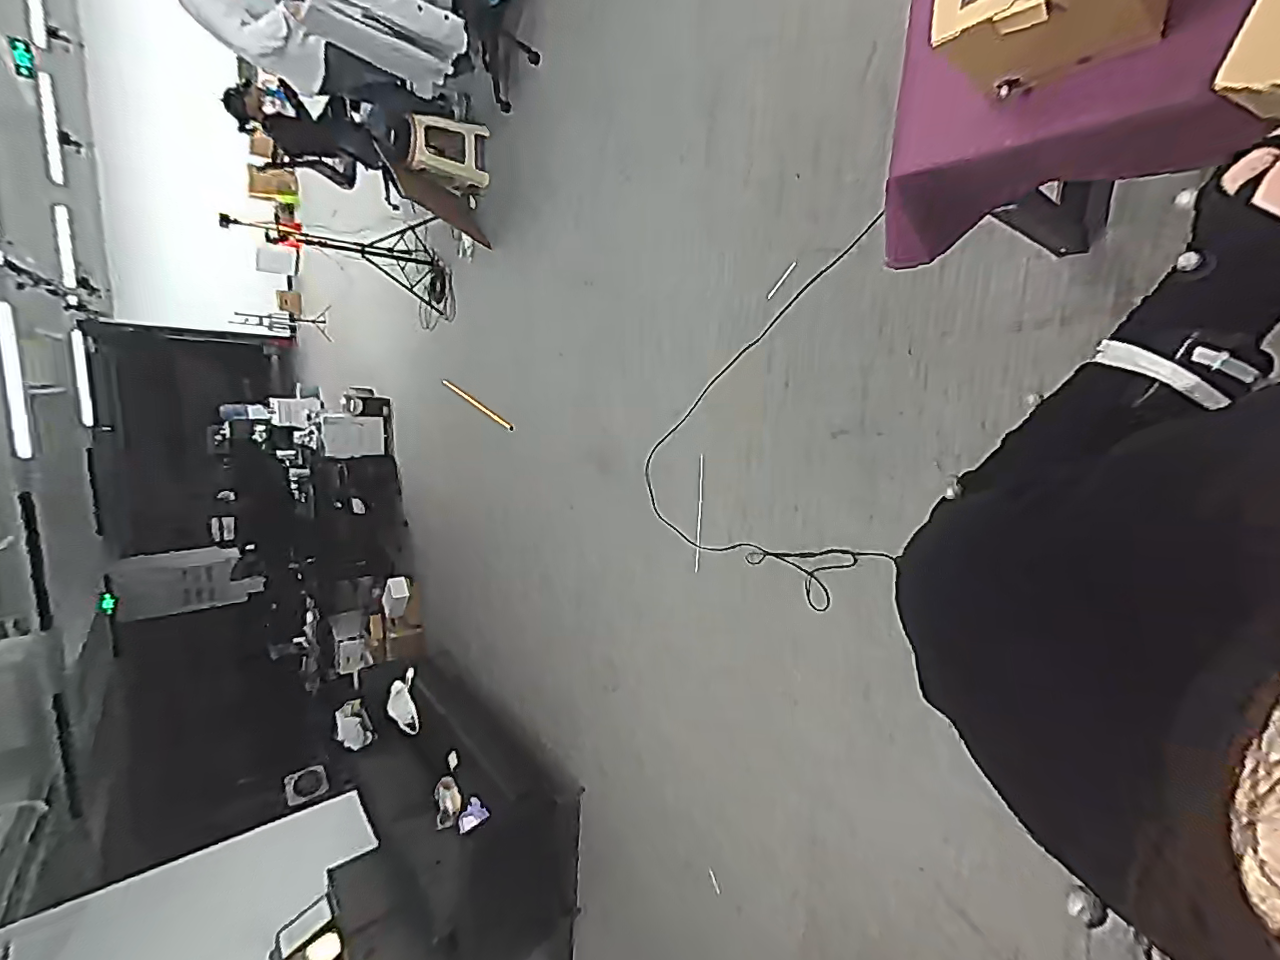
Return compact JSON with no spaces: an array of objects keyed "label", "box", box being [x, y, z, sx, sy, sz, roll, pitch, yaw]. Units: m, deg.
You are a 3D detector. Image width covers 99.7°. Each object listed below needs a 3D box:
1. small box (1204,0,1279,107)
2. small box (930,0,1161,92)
[{"label":"small box","box":[0.516,-0.330,0.324,0.168,0.176,0.179,40,135,40]},{"label":"small box","box":[0.435,-0.549,0.569,0.168,0.176,0.179,13,103,49]}]
